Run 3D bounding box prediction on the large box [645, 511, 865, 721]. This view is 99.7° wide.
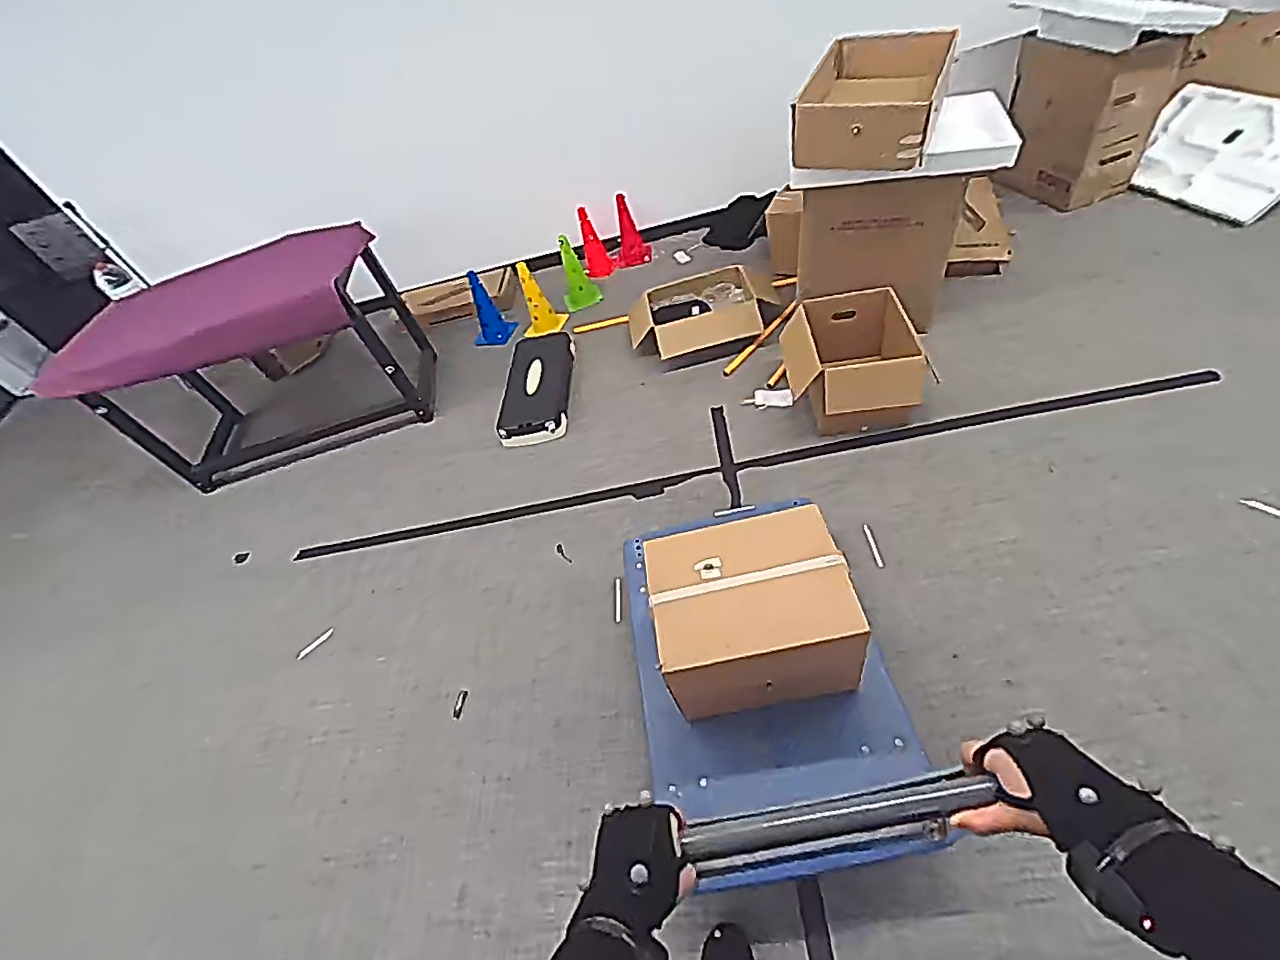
[{"bbox_3d":[0.257,0.323,1.253,0.408,0.320,0.320,-15,47,6],"label":"large box"}]
